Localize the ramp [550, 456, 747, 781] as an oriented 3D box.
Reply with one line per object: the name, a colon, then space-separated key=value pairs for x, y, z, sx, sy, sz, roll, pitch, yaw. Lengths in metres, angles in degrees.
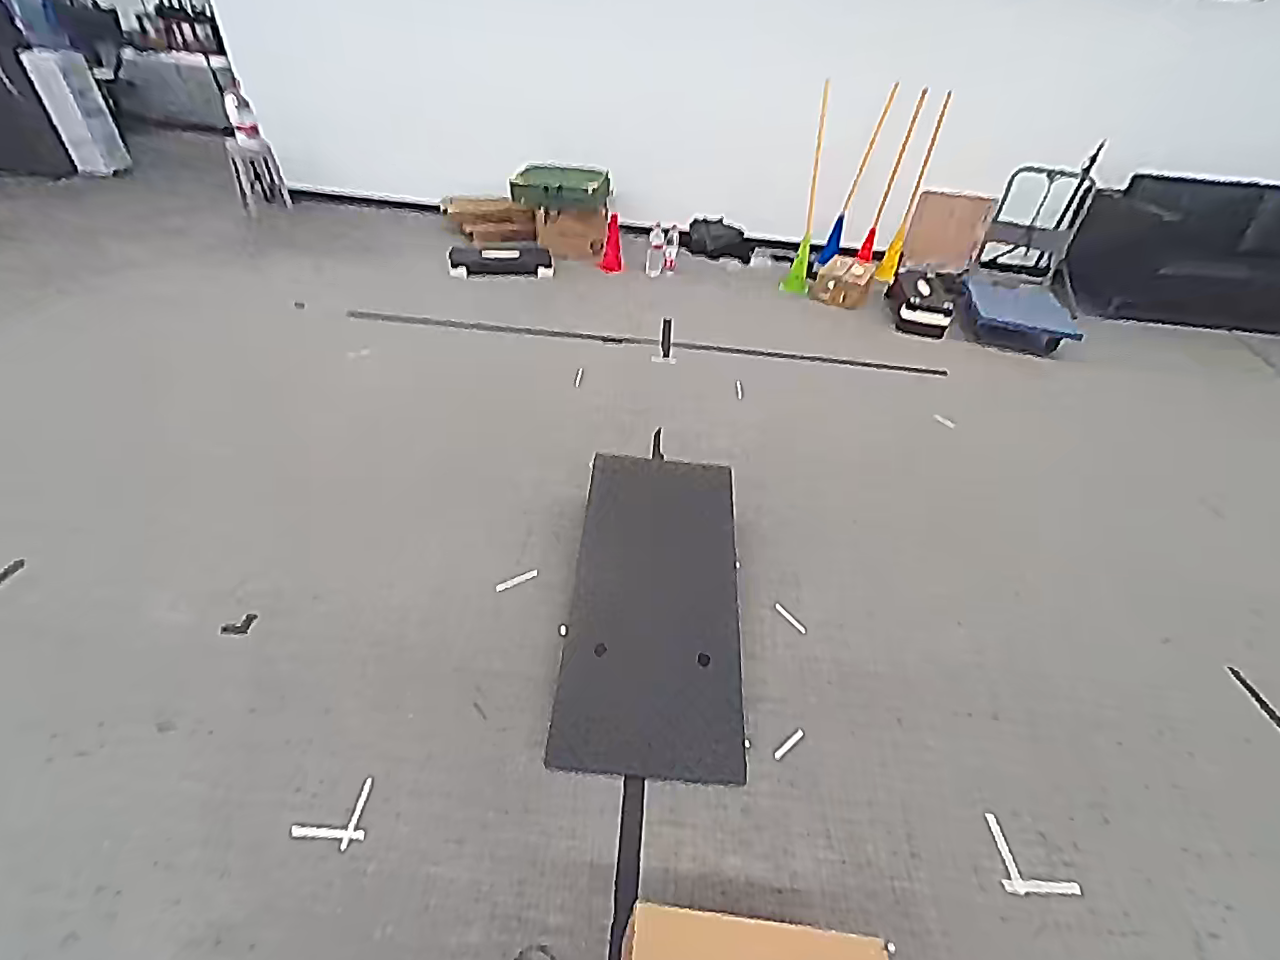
ramp: x=0.056 y=0.325 z=1.617 sx=0.509 sy=0.206 sz=0.991 roll=5 pitch=41 yaw=-2

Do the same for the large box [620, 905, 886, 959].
large box: x=0.163 y=0.918 z=0.843 sx=0.408 sy=0.320 sz=0.320 roll=8 pitch=40 yaw=1
